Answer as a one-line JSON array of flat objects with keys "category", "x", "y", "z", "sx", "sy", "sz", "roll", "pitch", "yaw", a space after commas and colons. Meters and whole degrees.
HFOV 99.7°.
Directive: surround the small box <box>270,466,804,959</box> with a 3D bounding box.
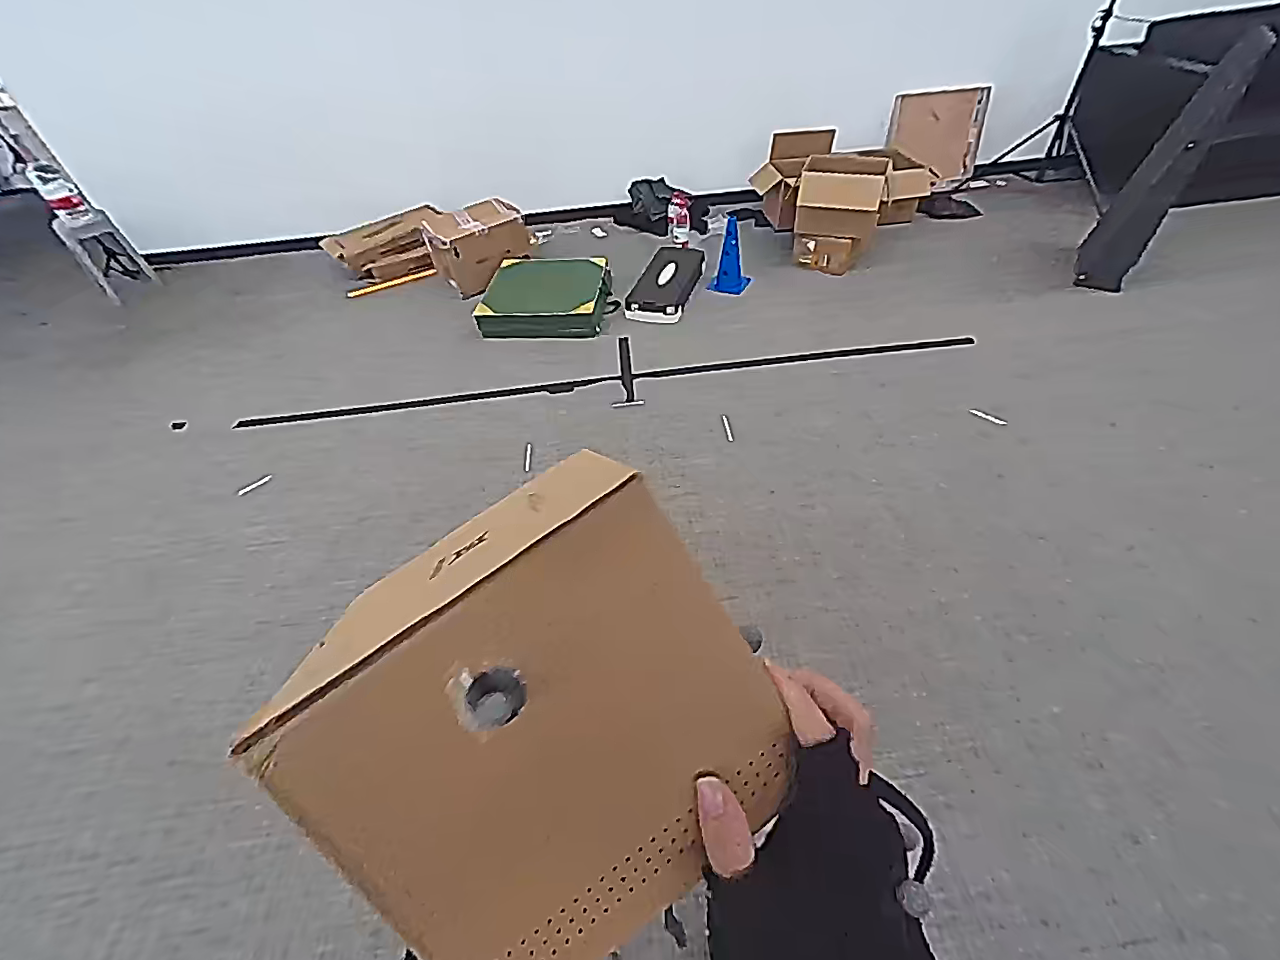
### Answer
[{"category": "small box", "x": -0.044, "y": 0.115, "z": 0.308, "sx": 0.179, "sy": 0.176, "sz": 0.168, "roll": -35, "pitch": 13, "yaw": -6}]
